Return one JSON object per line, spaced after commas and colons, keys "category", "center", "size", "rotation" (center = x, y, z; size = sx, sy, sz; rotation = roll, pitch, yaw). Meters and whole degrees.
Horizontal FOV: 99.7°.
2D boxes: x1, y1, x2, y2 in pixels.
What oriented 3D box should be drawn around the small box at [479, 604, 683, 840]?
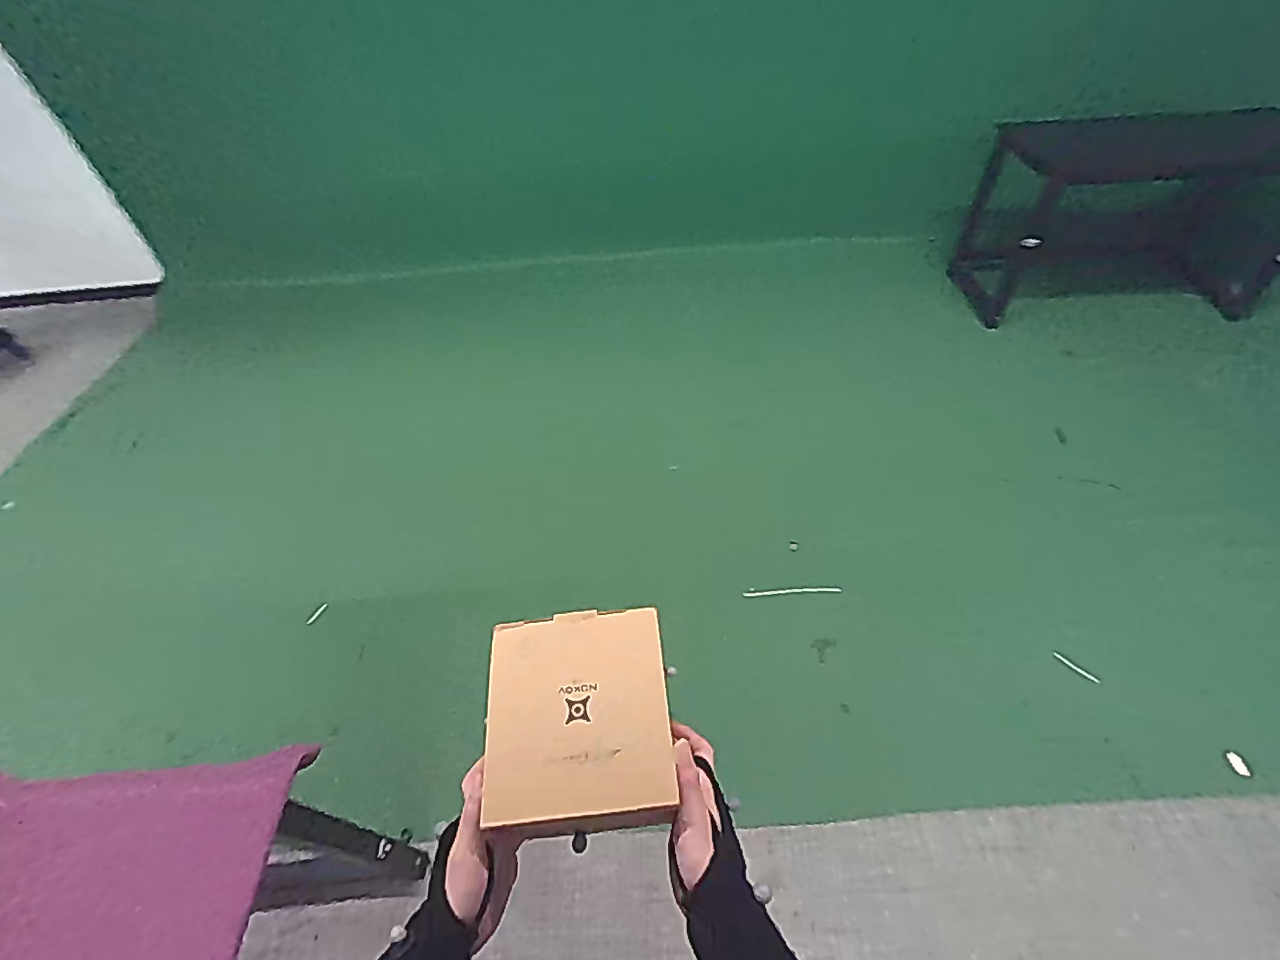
{"category": "small box", "center": [-0.050, 0.246, 0.545], "size": [0.168, 0.176, 0.179], "rotation": [-6, 53, 0]}
